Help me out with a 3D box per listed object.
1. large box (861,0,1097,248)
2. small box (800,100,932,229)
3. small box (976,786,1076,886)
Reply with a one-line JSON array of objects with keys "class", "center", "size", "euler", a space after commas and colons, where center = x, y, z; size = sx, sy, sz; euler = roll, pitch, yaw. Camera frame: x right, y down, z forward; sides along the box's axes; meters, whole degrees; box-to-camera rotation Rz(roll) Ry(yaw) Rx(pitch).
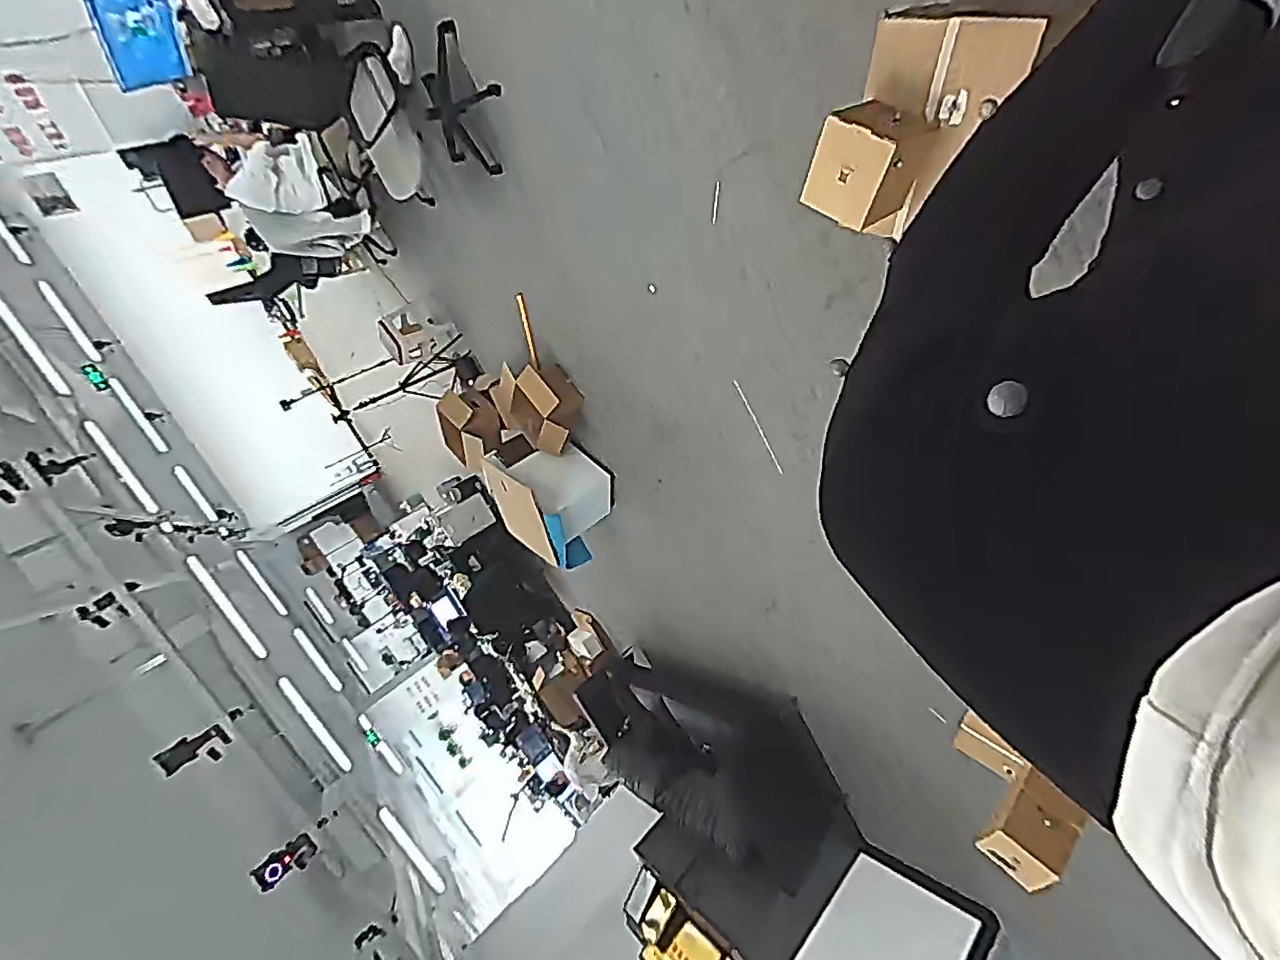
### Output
[{"class": "large box", "center": [0.700, -0.792, 1.203], "size": [0.320, 0.320, 0.408], "euler": [34, 144, 33]}, {"class": "small box", "center": [0.480, -0.673, 1.151], "size": [0.168, 0.176, 0.179], "euler": [43, 149, 24]}, {"class": "small box", "center": [1.159, 1.064, 1.623], "size": [0.168, 0.176, 0.179], "euler": [36, 145, 32]}]
